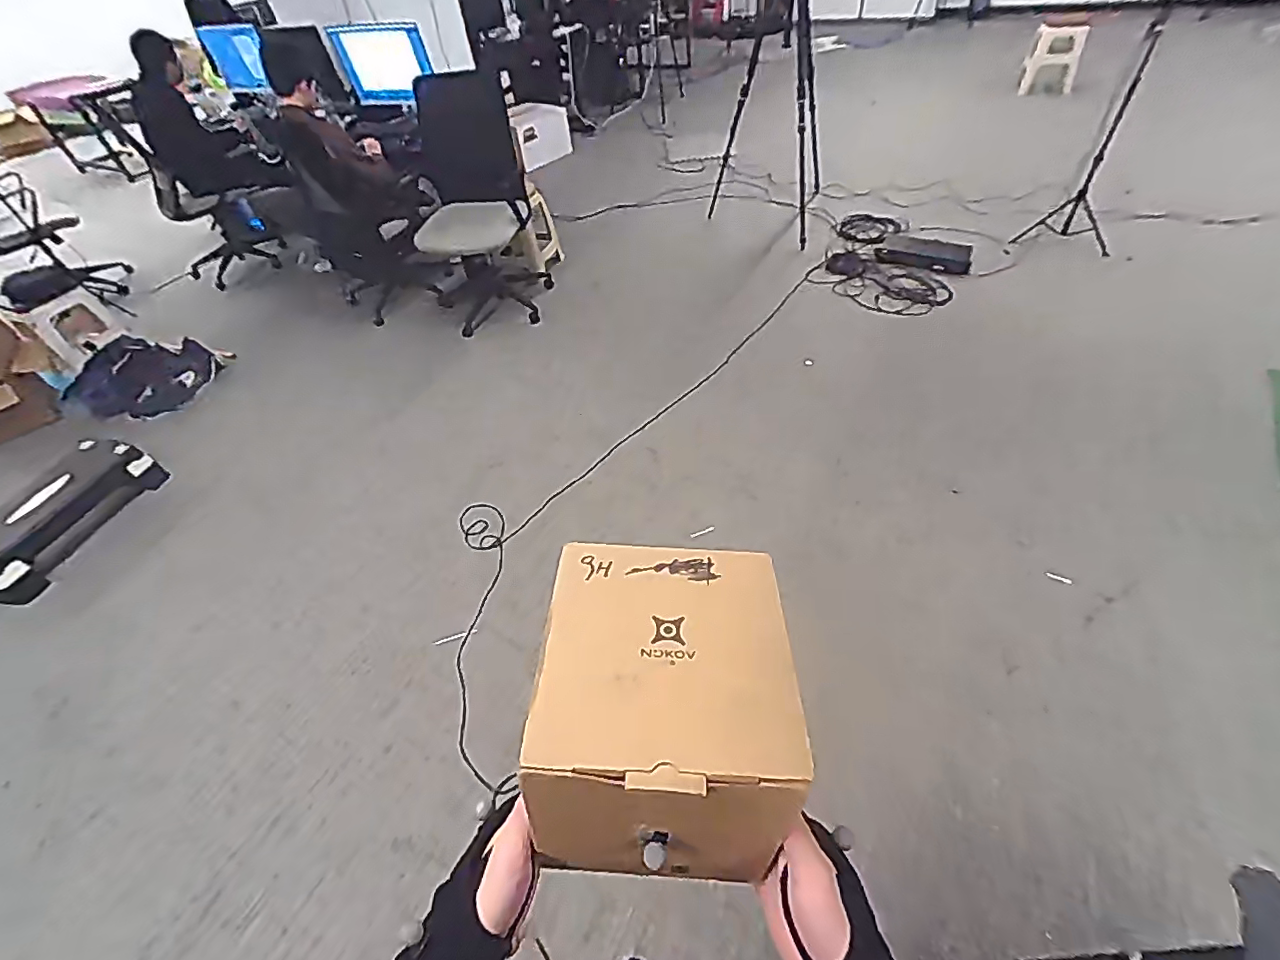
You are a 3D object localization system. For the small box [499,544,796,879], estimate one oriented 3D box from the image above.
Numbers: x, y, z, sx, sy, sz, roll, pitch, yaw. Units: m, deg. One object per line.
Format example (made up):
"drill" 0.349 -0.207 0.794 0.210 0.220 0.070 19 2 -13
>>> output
"small box" 0.006 0.172 0.405 0.168 0.176 0.179 4 40 0
